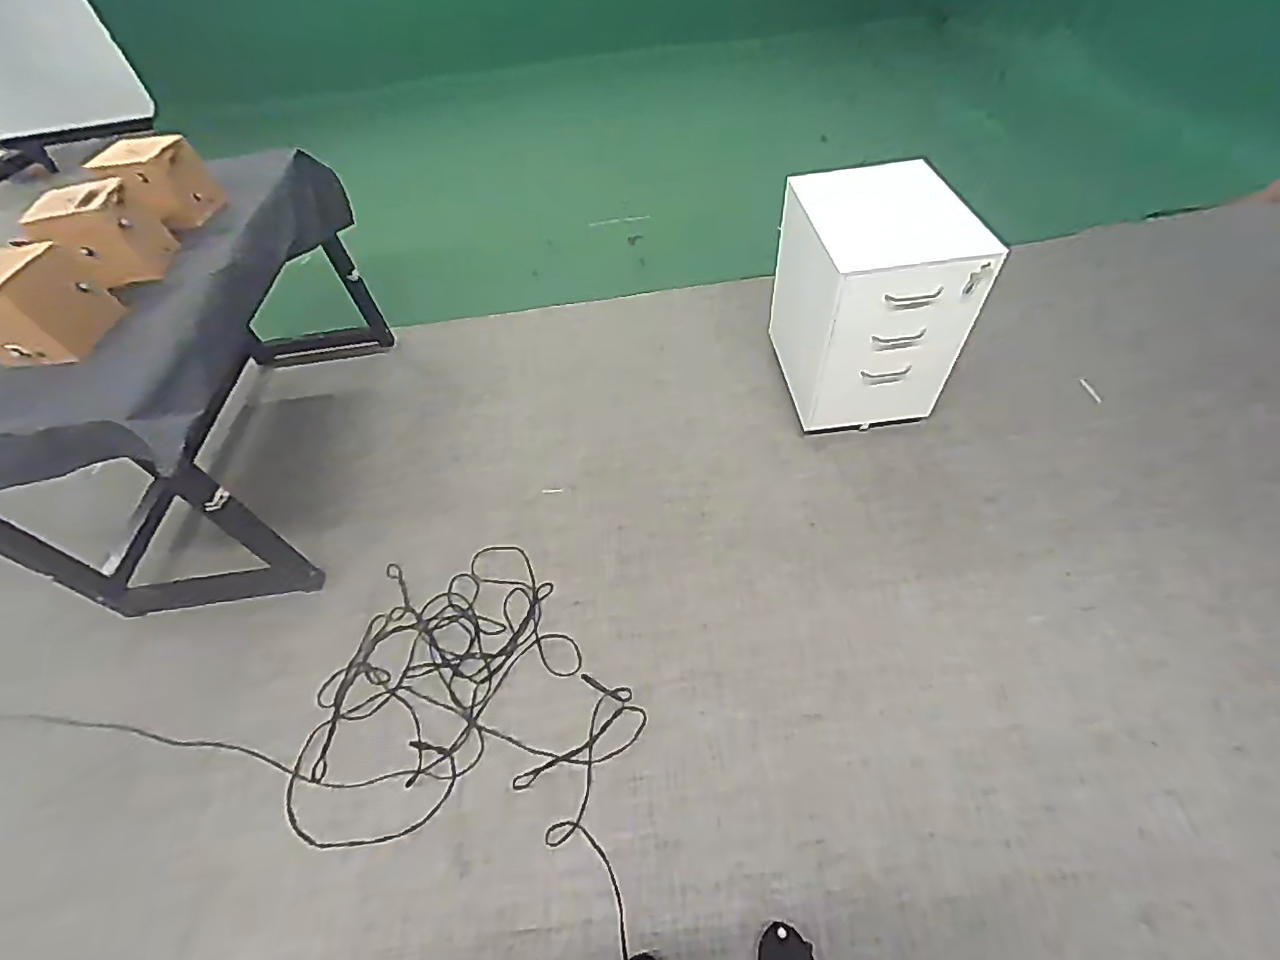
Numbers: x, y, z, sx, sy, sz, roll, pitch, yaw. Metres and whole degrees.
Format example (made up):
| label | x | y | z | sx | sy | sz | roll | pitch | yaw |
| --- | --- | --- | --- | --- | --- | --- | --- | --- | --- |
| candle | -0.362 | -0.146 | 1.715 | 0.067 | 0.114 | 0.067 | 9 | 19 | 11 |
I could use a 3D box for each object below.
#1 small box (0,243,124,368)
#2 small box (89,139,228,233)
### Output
| label | x | y | z | sx | sy | sz | roll | pitch | yaw |
| --- | --- | --- | --- | --- | --- | --- | --- | --- | --- |
| small box | -1.216 | -0.350 | 1.092 | 0.168 | 0.176 | 0.179 | -5 | 53 | 5 |
| small box | -1.255 | -0.770 | 1.425 | 0.179 | 0.176 | 0.168 | -3 | 52 | 4 |
